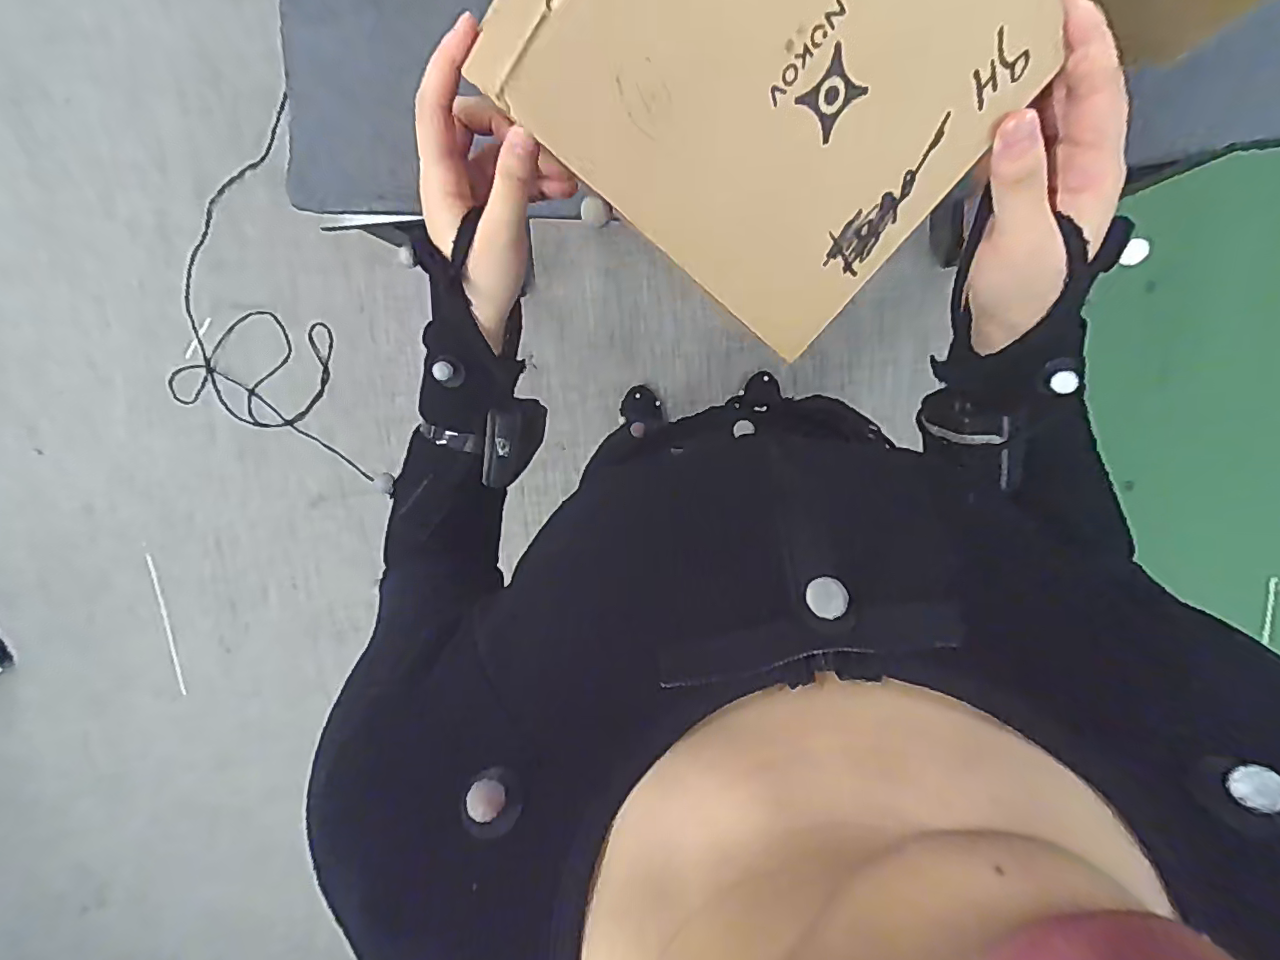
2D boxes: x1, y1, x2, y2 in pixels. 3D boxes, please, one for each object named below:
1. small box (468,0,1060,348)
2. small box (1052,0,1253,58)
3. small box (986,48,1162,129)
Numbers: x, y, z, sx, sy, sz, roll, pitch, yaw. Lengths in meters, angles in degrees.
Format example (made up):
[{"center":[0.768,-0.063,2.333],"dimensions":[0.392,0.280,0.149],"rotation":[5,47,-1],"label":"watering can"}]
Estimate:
[{"center":[0.036,-0.201,0.256],"dimensions":[0.179,0.176,0.168],"rotation":[27,114,-37],"label":"small box"},{"center":[0.392,-0.449,0.392],"dimensions":[0.179,0.176,0.168],"rotation":[10,100,4],"label":"small box"},{"center":[0.405,-0.490,0.550],"dimensions":[0.168,0.176,0.179],"rotation":[-1,100,5],"label":"small box"}]
